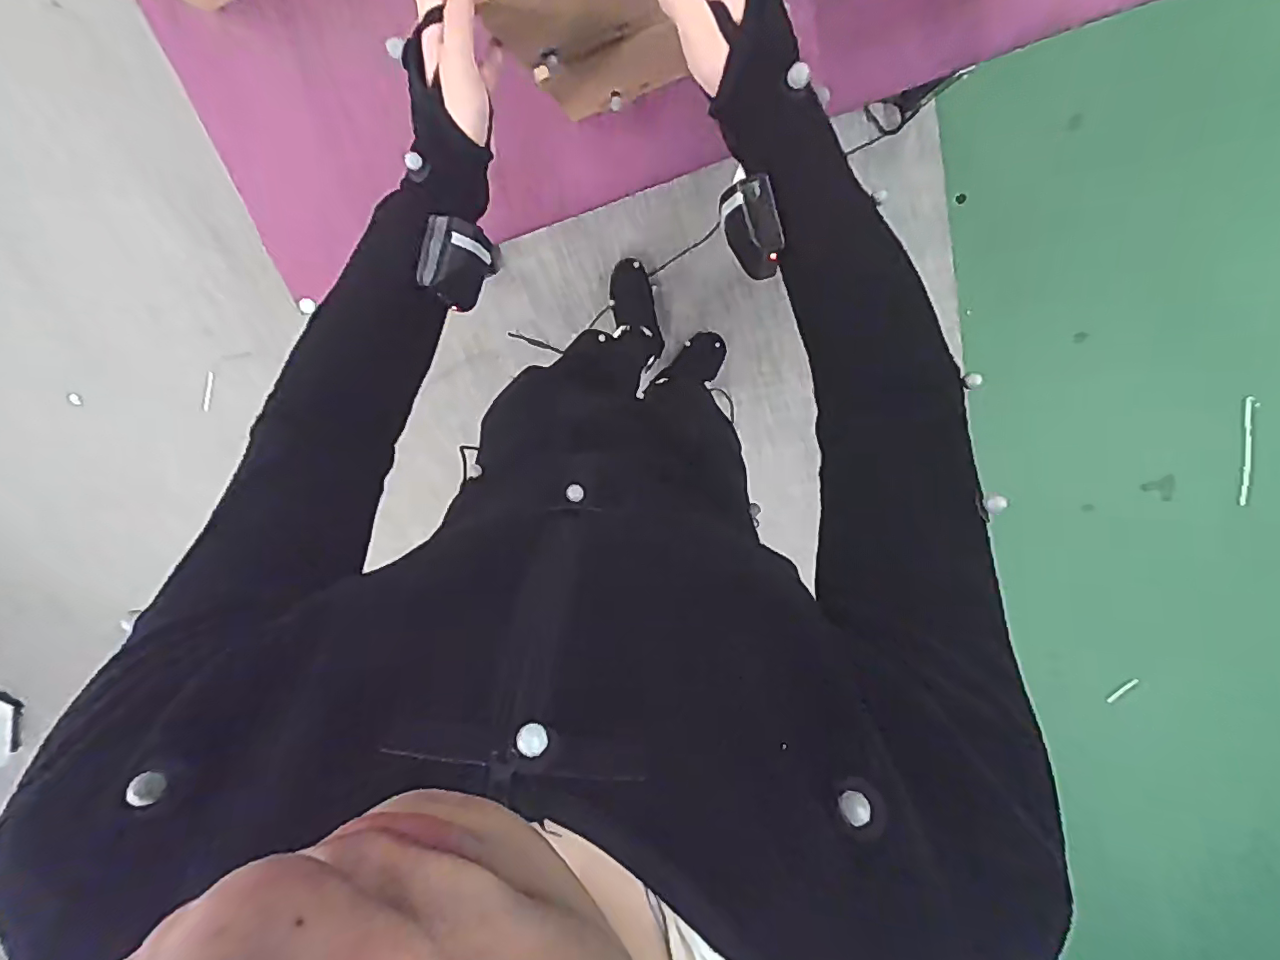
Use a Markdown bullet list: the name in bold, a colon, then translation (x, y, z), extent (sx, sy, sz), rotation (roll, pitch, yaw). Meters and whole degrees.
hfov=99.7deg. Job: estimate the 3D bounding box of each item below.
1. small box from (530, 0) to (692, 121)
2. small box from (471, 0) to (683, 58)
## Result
- **small box**: translation (-0.043, -0.534, 0.590), extent (0.168, 0.176, 0.179), rotation (-13, 108, 12)
- **small box**: translation (-0.061, -0.468, 0.420), extent (0.168, 0.176, 0.179), rotation (-14, 111, 9)
